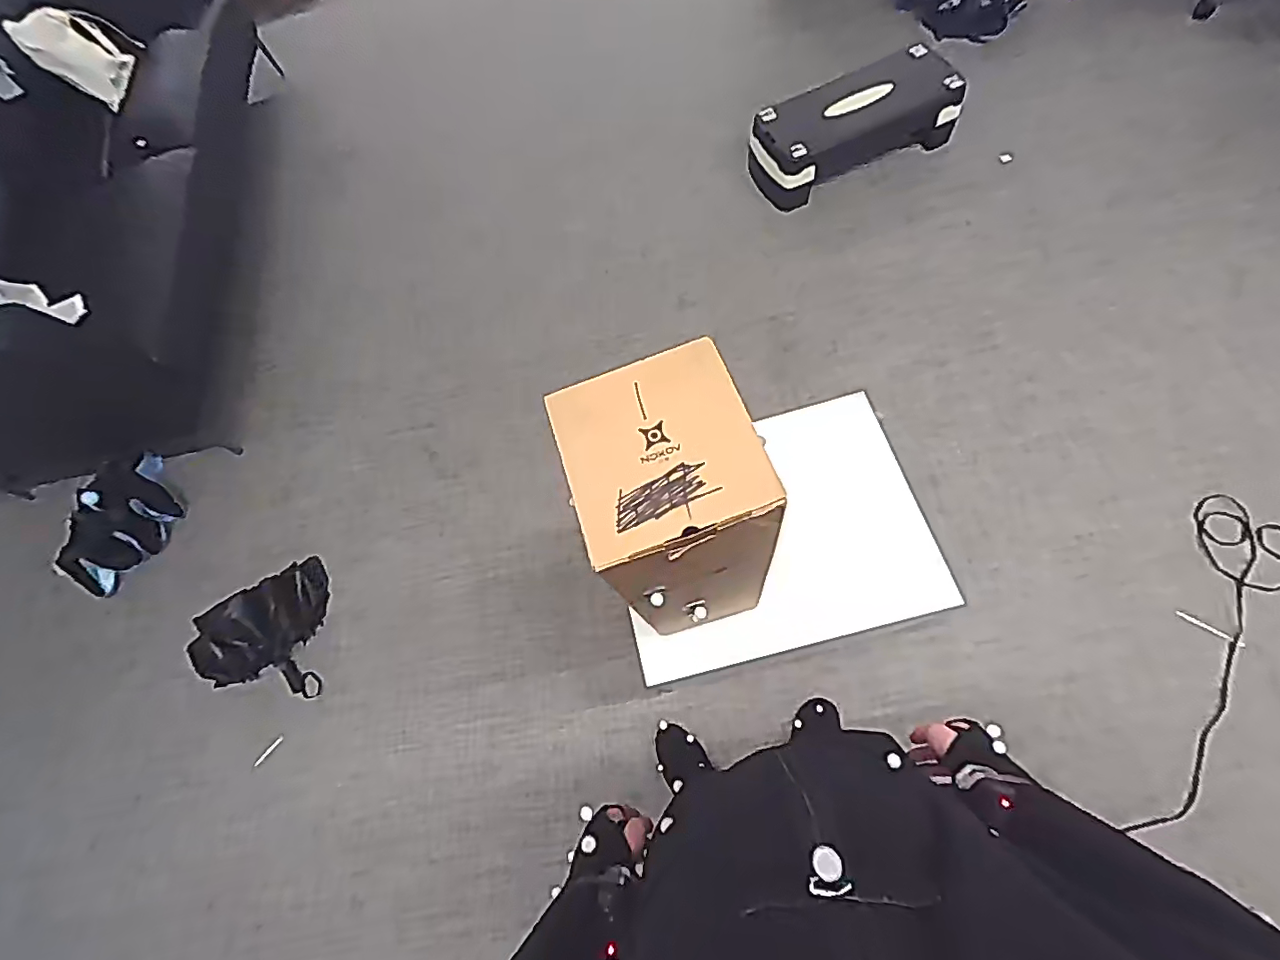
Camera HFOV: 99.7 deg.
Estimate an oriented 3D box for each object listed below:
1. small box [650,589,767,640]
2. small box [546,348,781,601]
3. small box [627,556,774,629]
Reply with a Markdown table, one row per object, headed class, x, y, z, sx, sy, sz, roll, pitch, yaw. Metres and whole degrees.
| class | x | y | z | sx | sy | sz | roll | pitch | yaw |
| --- | --- | --- | --- | --- | --- | --- | --- | --- | --- |
| small box | 0.084 | 0.133 | 0.834 | 0.168 | 0.176 | 0.179 | -18 | 66 | 3 |
| small box | 0.028 | 0.009 | 0.535 | 0.168 | 0.176 | 0.179 | -20 | 64 | 2 |
| small box | 0.055 | 0.072 | 0.684 | 0.168 | 0.176 | 0.179 | -19 | 66 | 2 |
